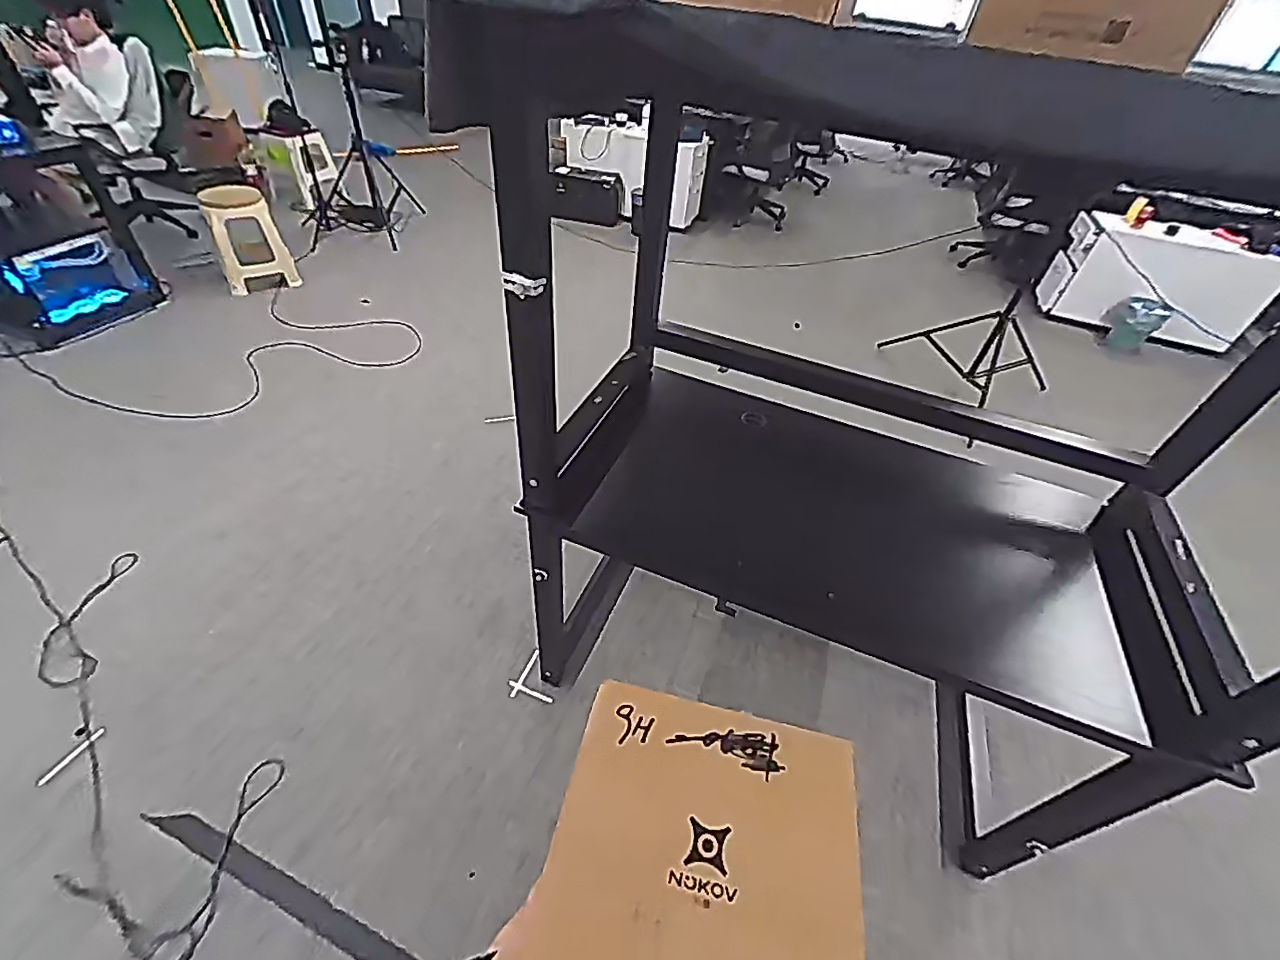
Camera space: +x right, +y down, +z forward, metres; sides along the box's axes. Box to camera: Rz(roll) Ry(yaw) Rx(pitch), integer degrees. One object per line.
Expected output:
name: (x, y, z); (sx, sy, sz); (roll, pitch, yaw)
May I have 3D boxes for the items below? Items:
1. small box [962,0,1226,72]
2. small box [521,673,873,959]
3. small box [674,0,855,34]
small box: (0.389, -0.454, 0.444); (0.168, 0.176, 0.179); (19, 43, 13)
small box: (0.033, 0.257, 0.340); (0.168, 0.176, 0.179); (13, 45, 7)
small box: (0.137, -0.539, 0.506); (0.168, 0.176, 0.179); (19, 43, 11)
